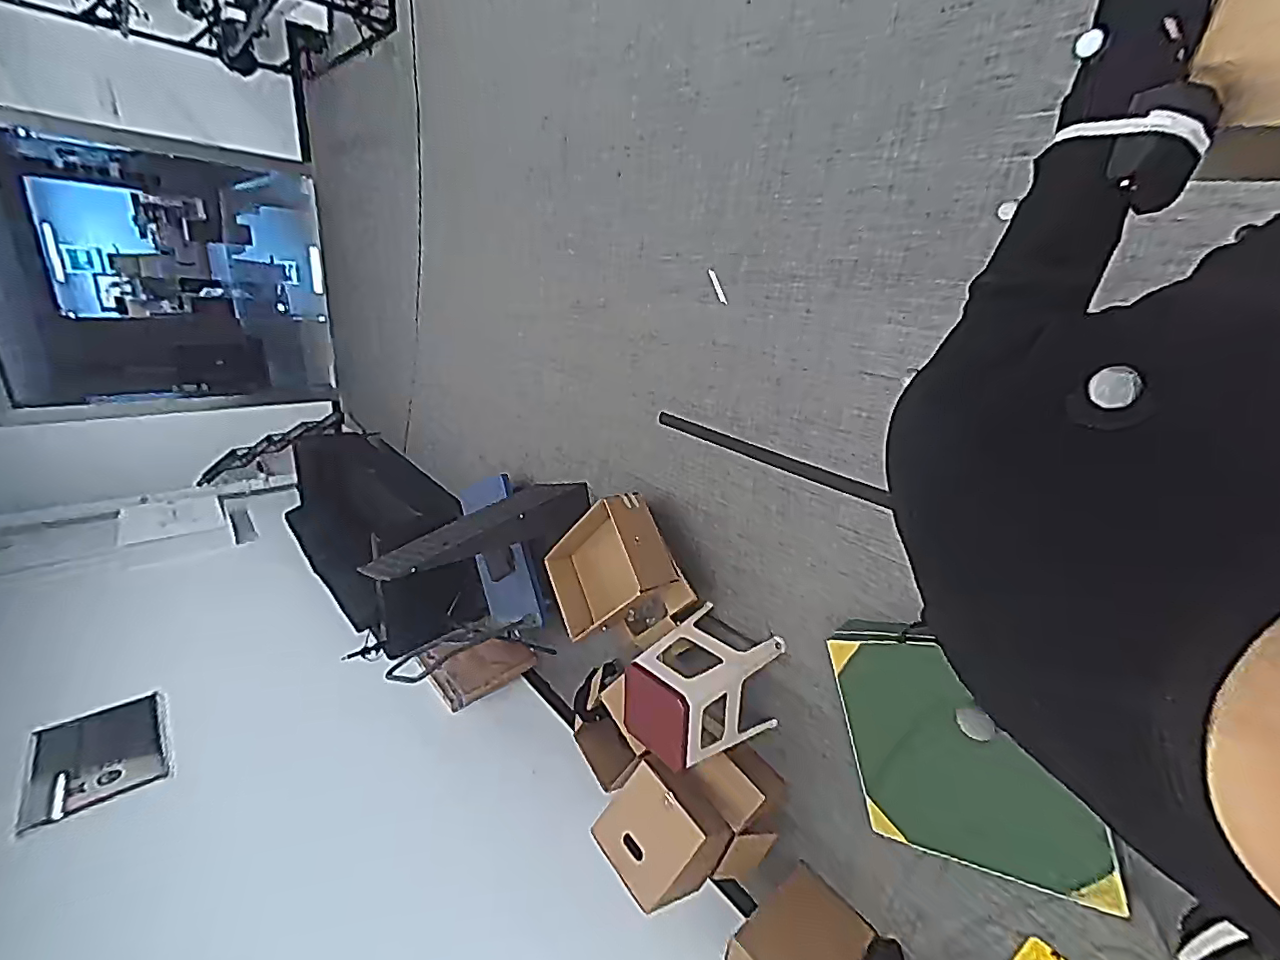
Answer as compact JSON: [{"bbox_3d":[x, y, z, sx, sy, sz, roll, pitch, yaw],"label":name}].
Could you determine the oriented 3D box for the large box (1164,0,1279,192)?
[{"bbox_3d":[0.649,-0.369,0.327,0.408,0.320,0.320,25,122,39],"label":"large box"}]
